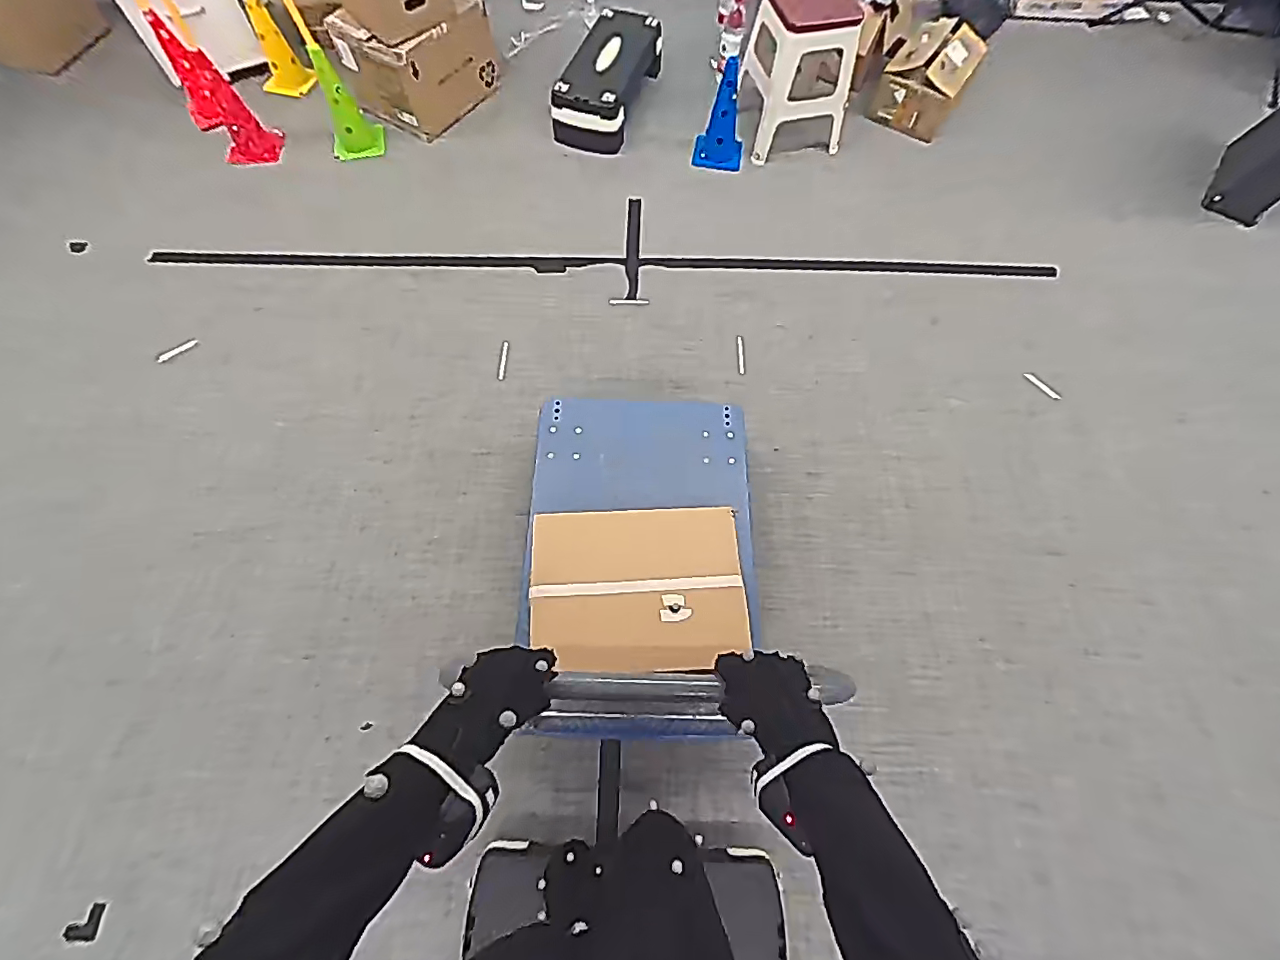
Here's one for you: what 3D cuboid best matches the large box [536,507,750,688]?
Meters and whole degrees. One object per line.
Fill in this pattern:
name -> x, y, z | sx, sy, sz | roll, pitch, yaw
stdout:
large box -> -0.009, 0.267, 1.183 | 0.408, 0.320, 0.320 | -2, 66, -4
